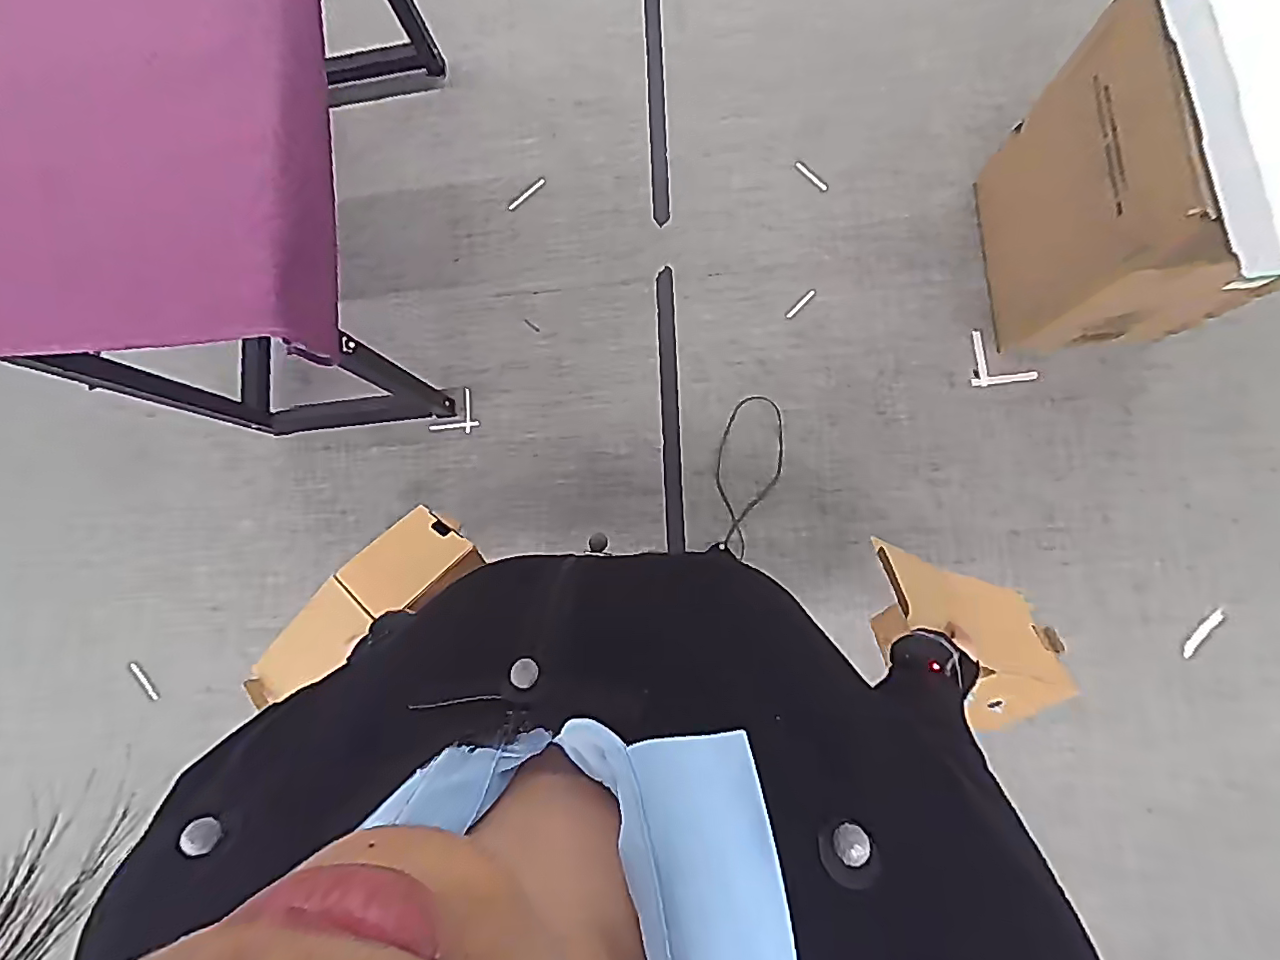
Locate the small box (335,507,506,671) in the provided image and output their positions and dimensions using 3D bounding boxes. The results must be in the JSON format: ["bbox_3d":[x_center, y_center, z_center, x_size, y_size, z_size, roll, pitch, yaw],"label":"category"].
[{"bbox_3d":[-0.357,0.184,0.908,0.168,0.176,0.179,27,58,33],"label":"small box"}]
